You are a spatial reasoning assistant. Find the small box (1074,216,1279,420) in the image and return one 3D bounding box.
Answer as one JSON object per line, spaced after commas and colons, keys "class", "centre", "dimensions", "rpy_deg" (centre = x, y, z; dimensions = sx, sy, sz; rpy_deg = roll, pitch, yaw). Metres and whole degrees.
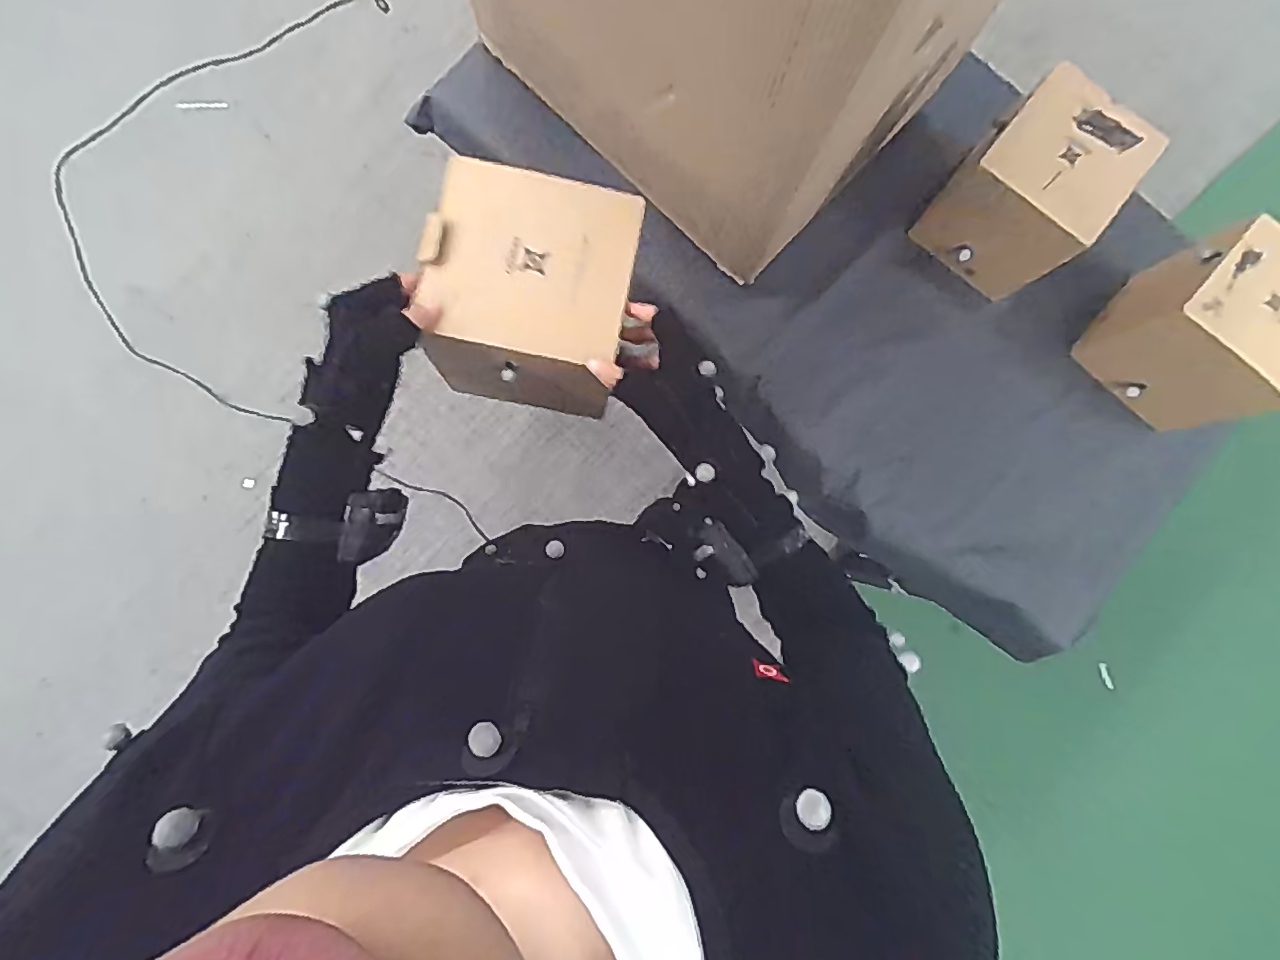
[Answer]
{"class": "small box", "centre": [0.750, -0.197, 0.718], "dimensions": [0.179, 0.176, 0.168], "rpy_deg": [43, 85, 2]}
